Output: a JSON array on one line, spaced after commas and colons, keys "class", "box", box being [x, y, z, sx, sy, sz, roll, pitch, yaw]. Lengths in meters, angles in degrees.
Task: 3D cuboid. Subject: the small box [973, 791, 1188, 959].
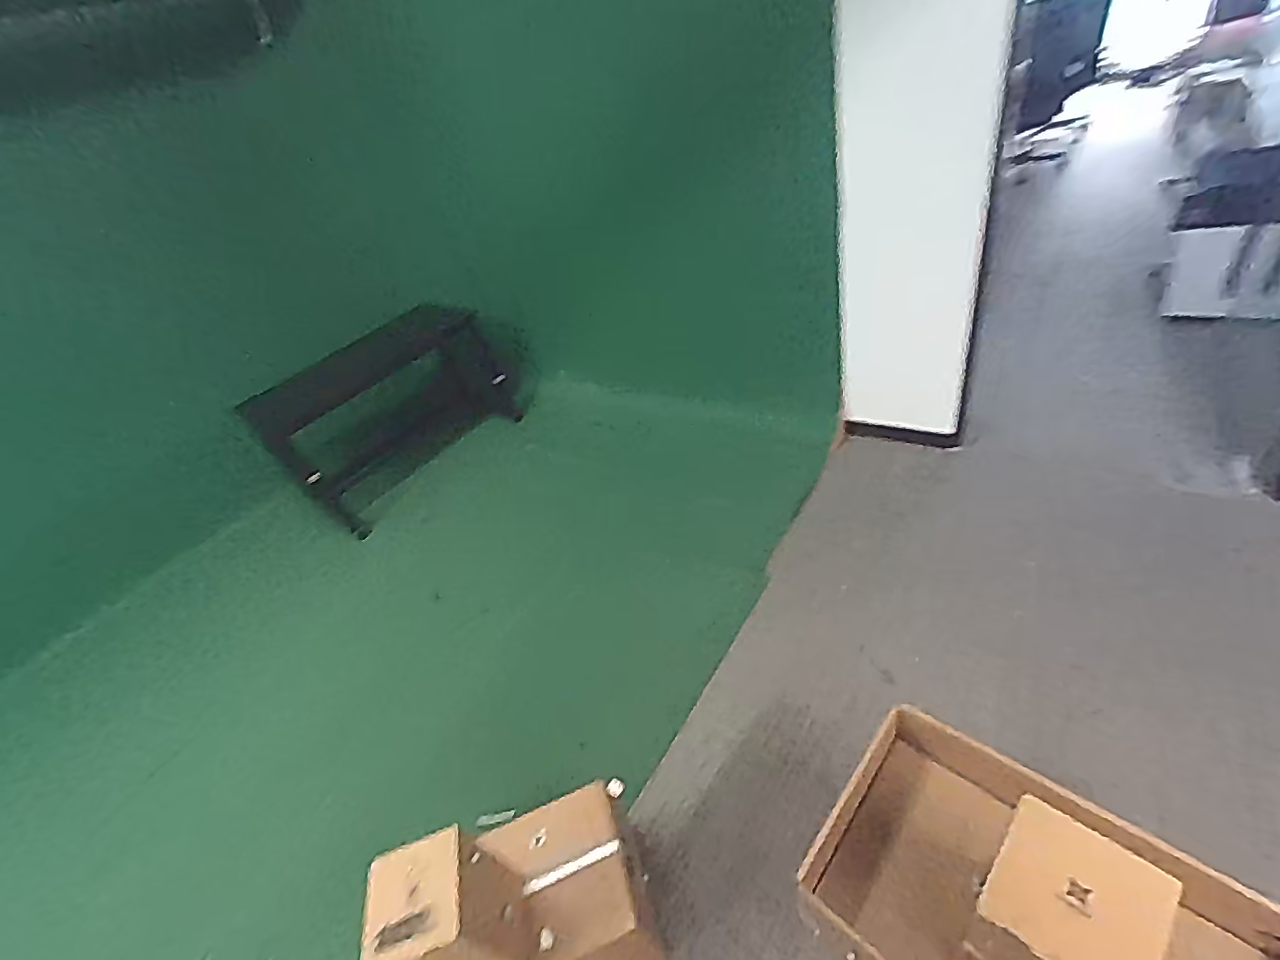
[{"class": "small box", "box": [0.562, 0.564, 0.709, 0.168, 0.176, 0.179, 23, 55, 41]}]

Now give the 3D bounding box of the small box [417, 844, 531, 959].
[{"class": "small box", "box": [-0.328, 0.885, 1.094, 0.168, 0.176, 0.179, -19, 38, -3]}]
